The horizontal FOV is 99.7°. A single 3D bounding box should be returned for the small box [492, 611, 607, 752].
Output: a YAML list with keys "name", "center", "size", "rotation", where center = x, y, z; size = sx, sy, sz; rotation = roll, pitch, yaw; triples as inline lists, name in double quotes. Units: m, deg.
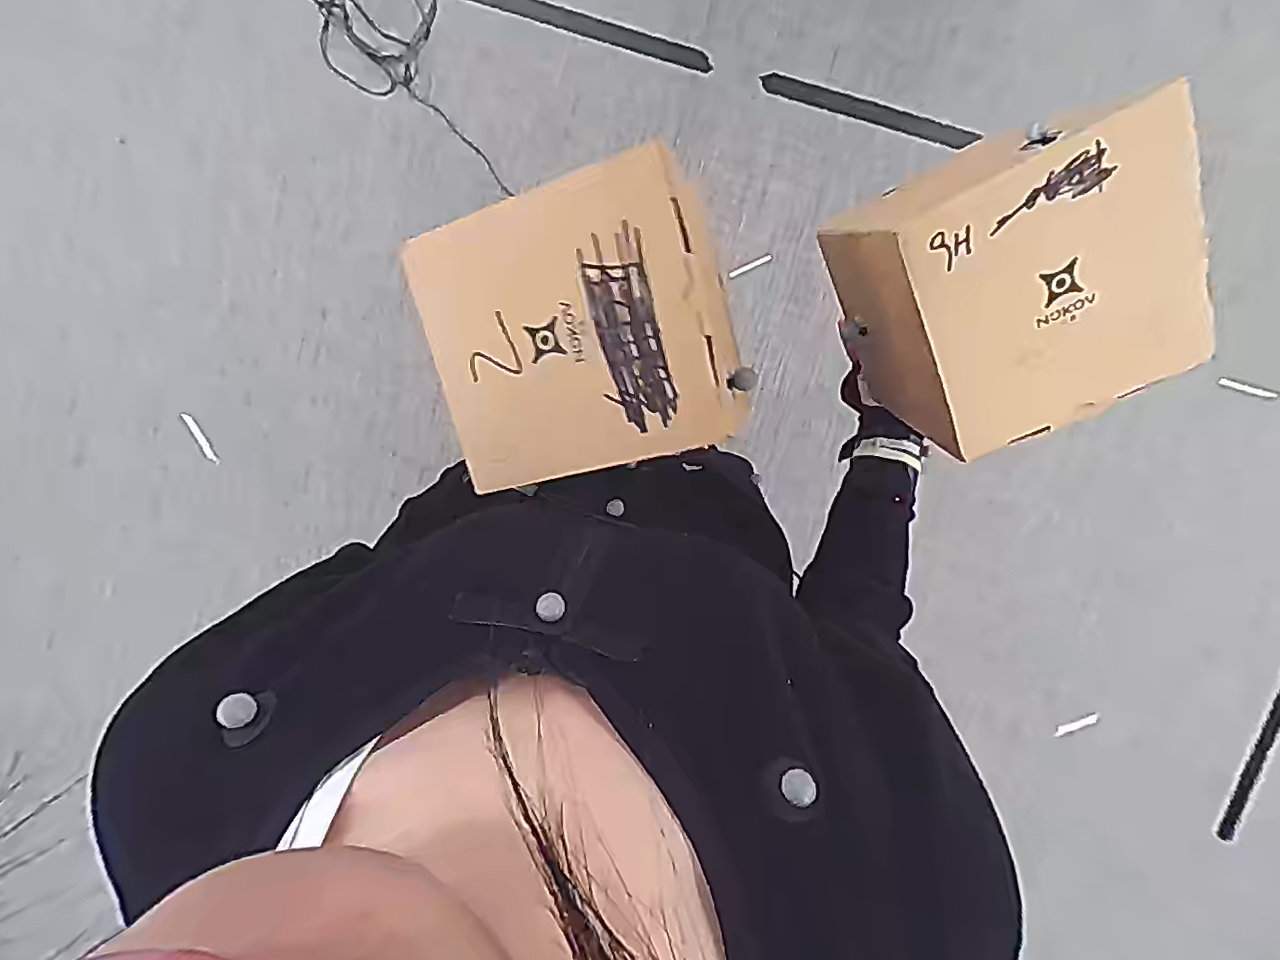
- name: "small box"
  center: [-0.156, 0.355, 0.983]
  size: [0.168, 0.176, 0.179]
  rotation: [8, 97, 1]

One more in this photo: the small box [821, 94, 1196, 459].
- name: "small box"
  center: [0.263, -0.149, 0.418]
  size: [0.168, 0.176, 0.179]
  rotation: [-24, 113, 10]
